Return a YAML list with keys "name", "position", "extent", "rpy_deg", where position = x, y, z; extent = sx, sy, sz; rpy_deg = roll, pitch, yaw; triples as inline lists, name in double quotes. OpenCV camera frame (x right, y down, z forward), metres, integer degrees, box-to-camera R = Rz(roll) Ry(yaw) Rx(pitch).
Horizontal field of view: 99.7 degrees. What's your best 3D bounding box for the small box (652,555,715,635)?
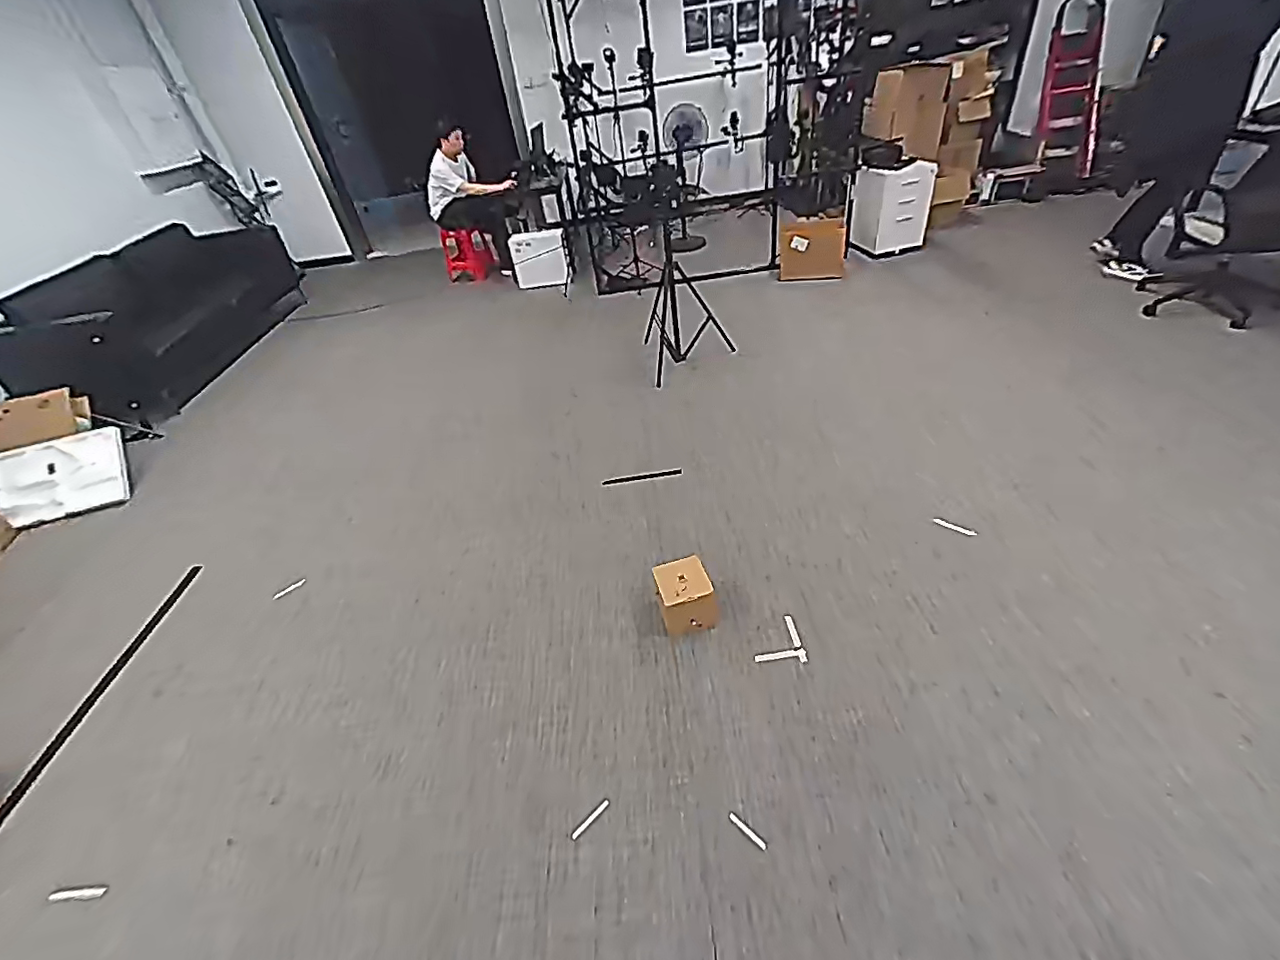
- name: "small box"
  position: [0.145, 0.386, 1.811]
  extent: [0.168, 0.176, 0.179]
  rpy_deg: [-15, 39, -7]
